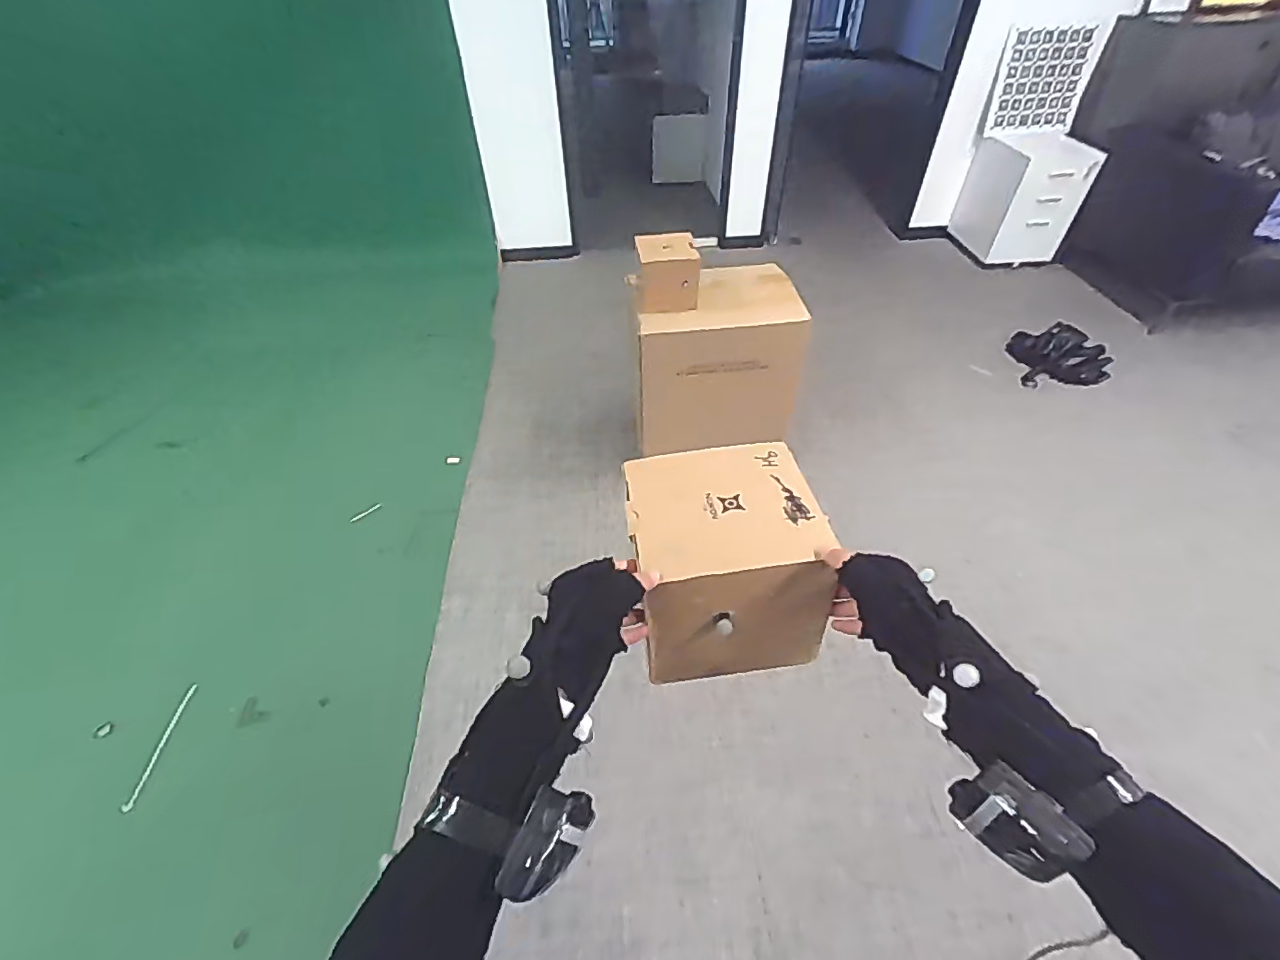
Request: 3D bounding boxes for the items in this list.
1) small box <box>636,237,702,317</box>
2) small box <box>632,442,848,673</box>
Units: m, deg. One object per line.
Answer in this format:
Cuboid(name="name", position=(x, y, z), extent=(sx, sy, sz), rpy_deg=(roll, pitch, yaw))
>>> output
Cuboid(name="small box", position=(0.085, -0.624, 1.668), extent=(0.179, 0.176, 0.168), rpy_deg=(-7, 49, -4))
Cuboid(name="small box", position=(0.092, 0.083, 0.568), extent=(0.179, 0.176, 0.168), rpy_deg=(-7, 41, -2))
